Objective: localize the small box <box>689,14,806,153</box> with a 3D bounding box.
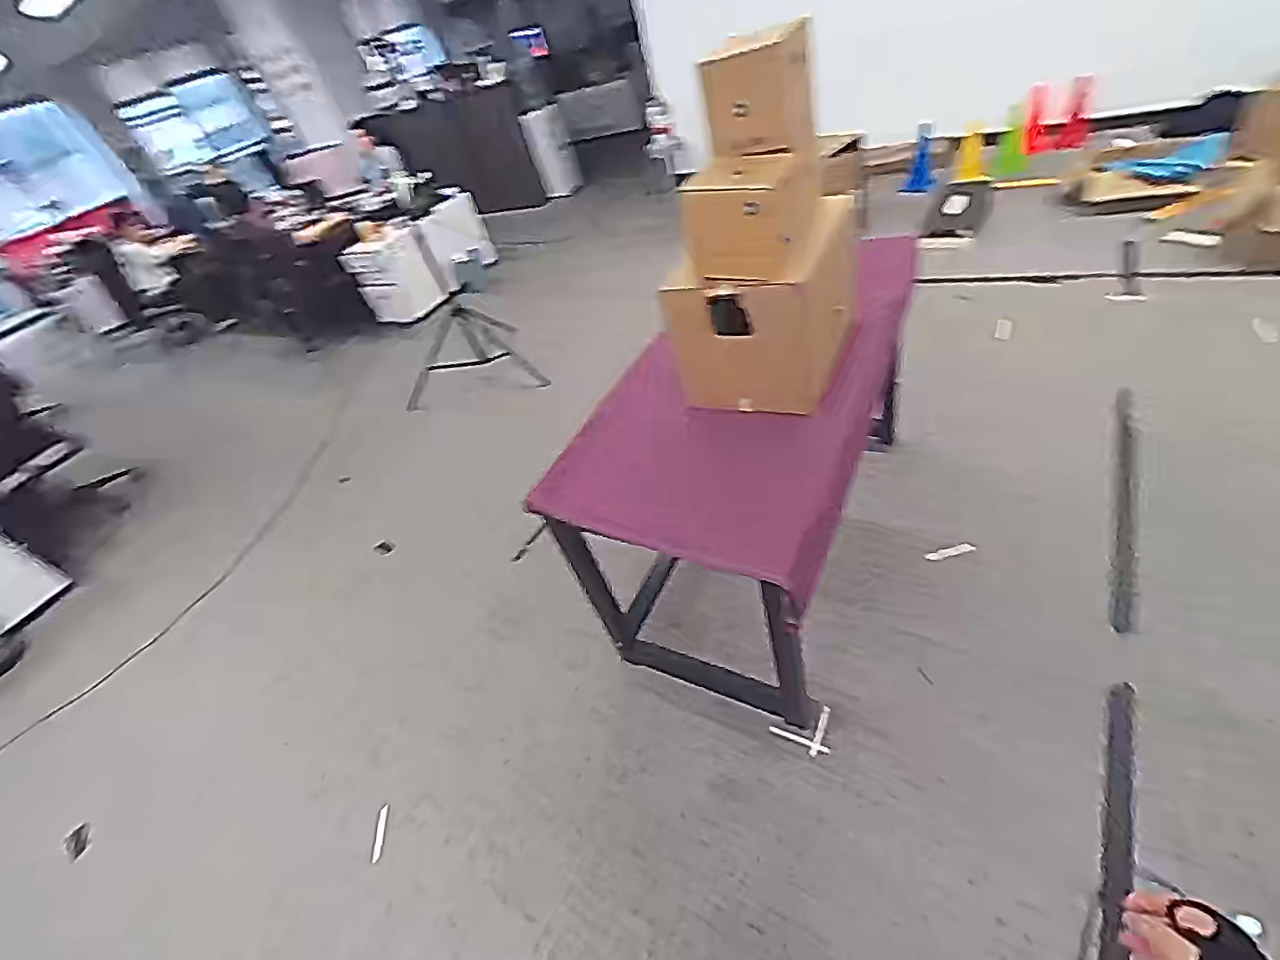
[{"bbox_3d":[0.218,-0.758,1.052,0.168,0.176,0.179,10,51,31],"label":"small box"}]
